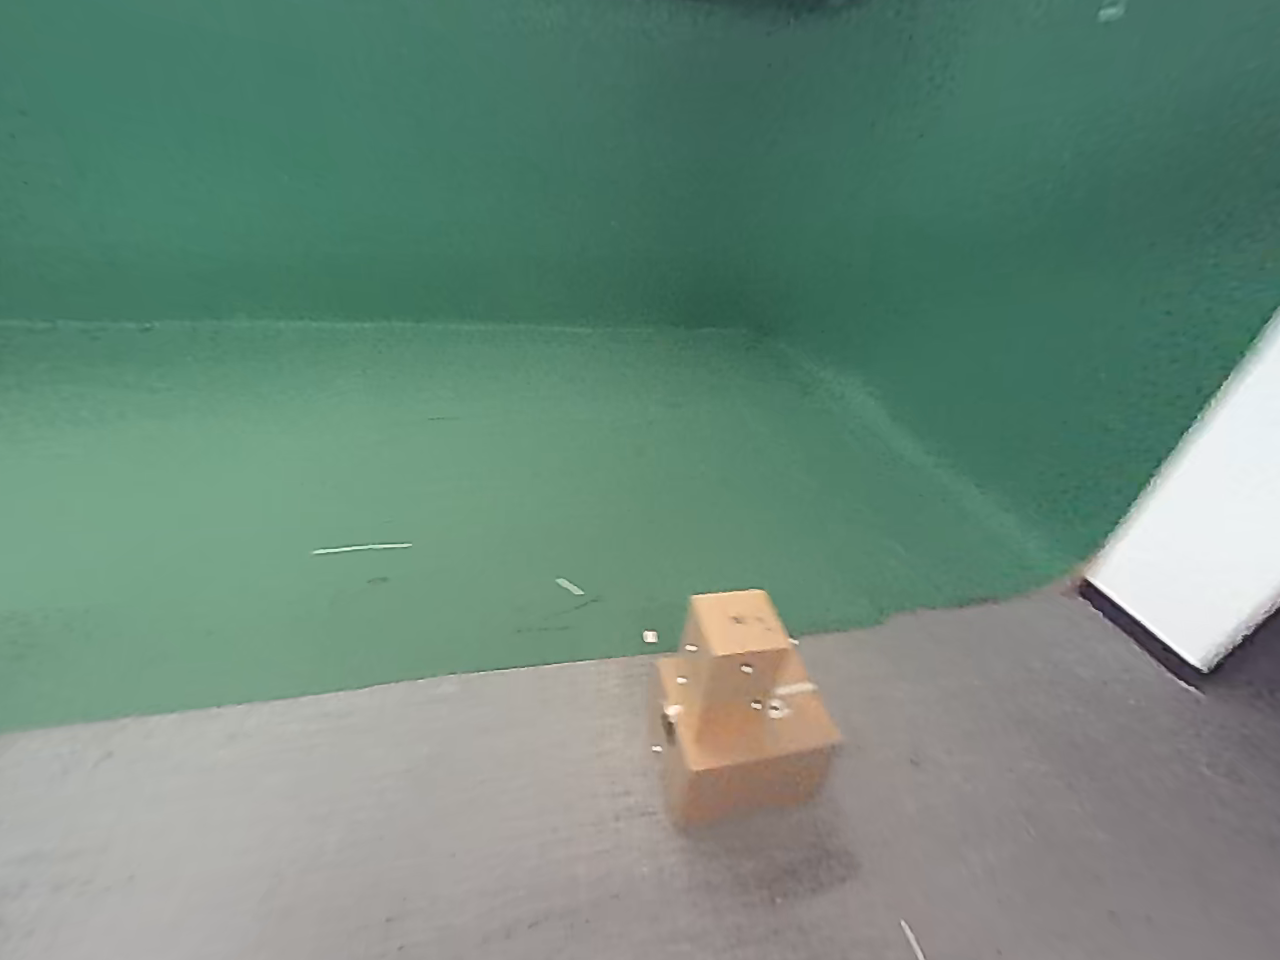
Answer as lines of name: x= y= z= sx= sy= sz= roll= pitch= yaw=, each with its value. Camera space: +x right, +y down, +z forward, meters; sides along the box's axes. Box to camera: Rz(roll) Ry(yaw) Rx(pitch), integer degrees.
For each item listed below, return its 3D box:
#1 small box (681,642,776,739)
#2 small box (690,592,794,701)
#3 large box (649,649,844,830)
small box: x=0.203 y=0.504 z=1.312 sx=0.179 sy=0.176 sz=0.168 roll=-1 pitch=36 yaw=-12
small box: x=0.217 y=0.374 z=1.211 sx=0.179 sy=0.176 sz=0.168 roll=-1 pitch=36 yaw=-12
large box: x=0.266 y=0.692 z=1.479 sx=0.408 sy=0.320 sz=0.320 roll=-3 pitch=36 yaw=-13
